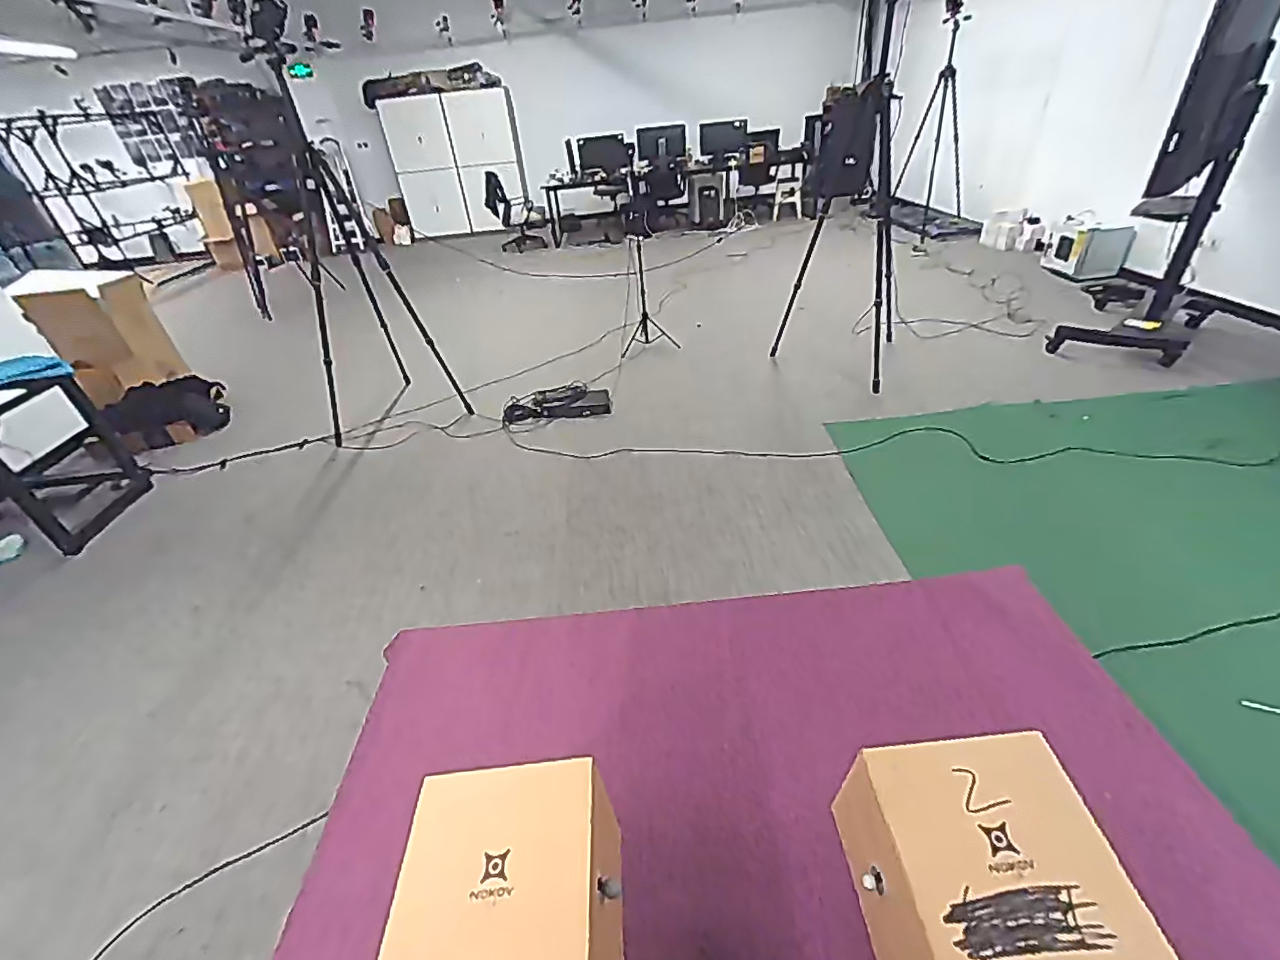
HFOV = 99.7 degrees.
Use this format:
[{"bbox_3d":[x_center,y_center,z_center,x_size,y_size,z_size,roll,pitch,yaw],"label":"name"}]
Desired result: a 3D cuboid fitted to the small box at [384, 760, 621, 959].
[{"bbox_3d":[-0.112,0.399,0.511,0.168,0.176,0.179,-8,37,2],"label":"small box"}]
